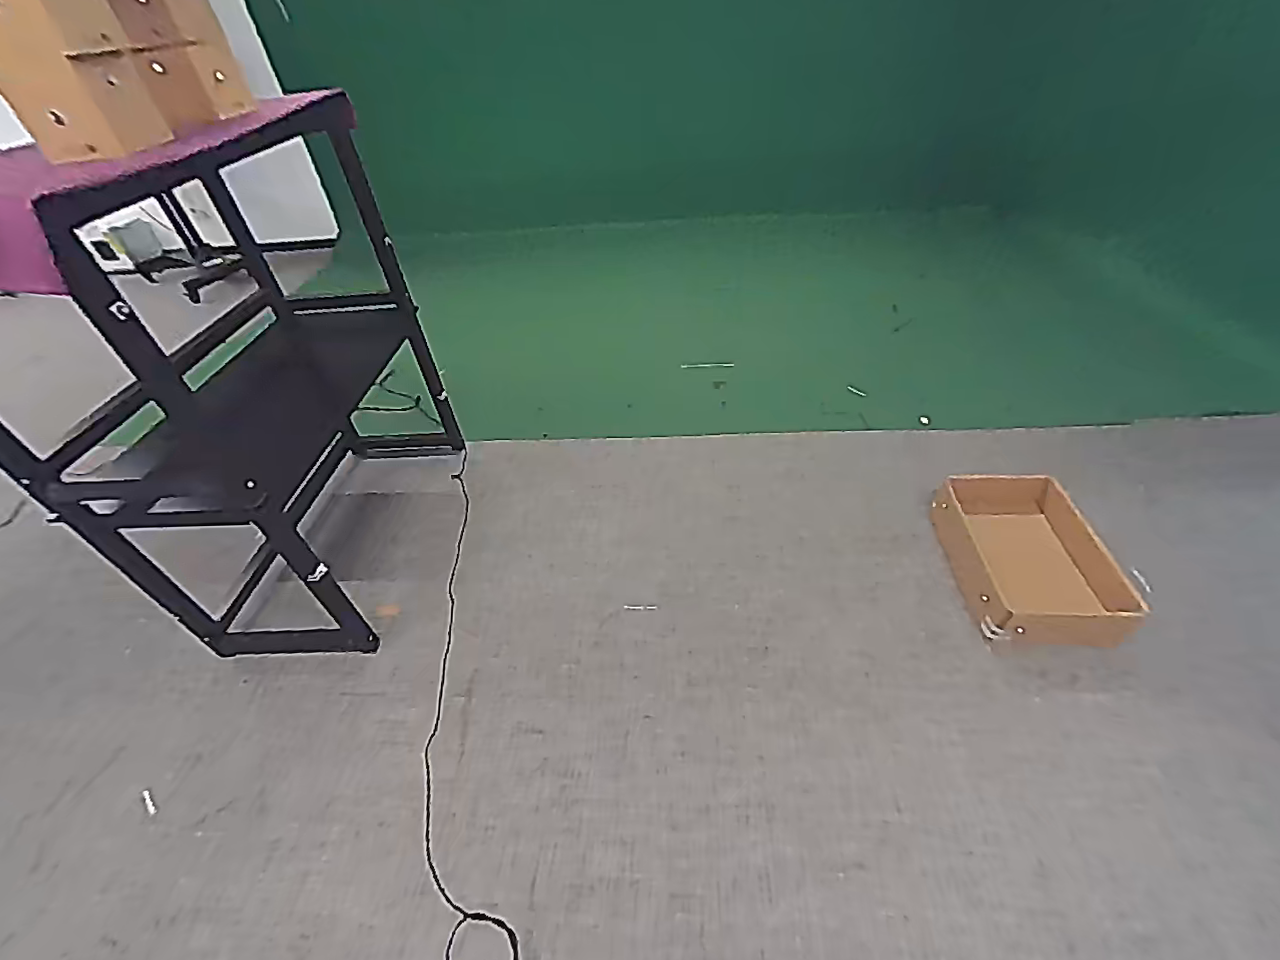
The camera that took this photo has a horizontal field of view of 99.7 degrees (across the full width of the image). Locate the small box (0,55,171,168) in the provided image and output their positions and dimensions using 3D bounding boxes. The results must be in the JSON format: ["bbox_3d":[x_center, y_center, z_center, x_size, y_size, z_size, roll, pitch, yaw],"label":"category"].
[{"bbox_3d":[-1.154,-0.769,1.135,0.168,0.176,0.179,-5,42,2],"label":"small box"}]

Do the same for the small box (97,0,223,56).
[{"bbox_3d":[-1.210,-1.181,1.358,0.168,0.176,0.179,-3,42,5],"label":"small box"}]

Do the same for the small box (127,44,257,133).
[{"bbox_3d":[-1.202,-1.063,1.470,0.179,0.176,0.168,-1,43,8],"label":"small box"}]
